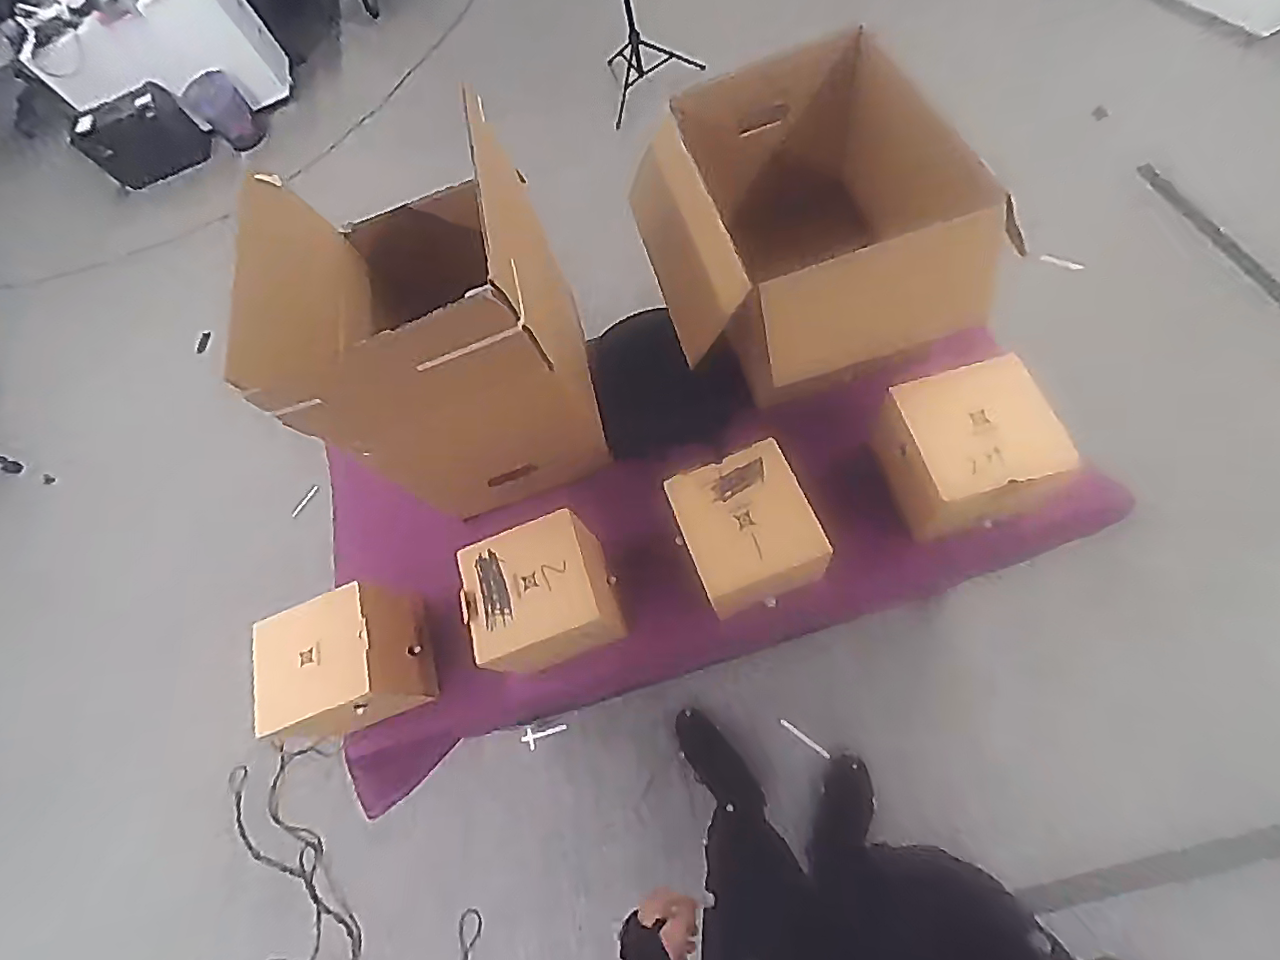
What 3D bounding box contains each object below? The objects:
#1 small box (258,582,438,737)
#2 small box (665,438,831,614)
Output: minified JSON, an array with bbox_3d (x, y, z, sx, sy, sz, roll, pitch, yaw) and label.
[{"bbox_3d":[-0.442,0.280,0.828,0.179,0.176,0.168,-23,64,2],"label":"small box"},{"bbox_3d":[0.149,0.074,0.771,0.168,0.176,0.179,-23,65,4],"label":"small box"}]
